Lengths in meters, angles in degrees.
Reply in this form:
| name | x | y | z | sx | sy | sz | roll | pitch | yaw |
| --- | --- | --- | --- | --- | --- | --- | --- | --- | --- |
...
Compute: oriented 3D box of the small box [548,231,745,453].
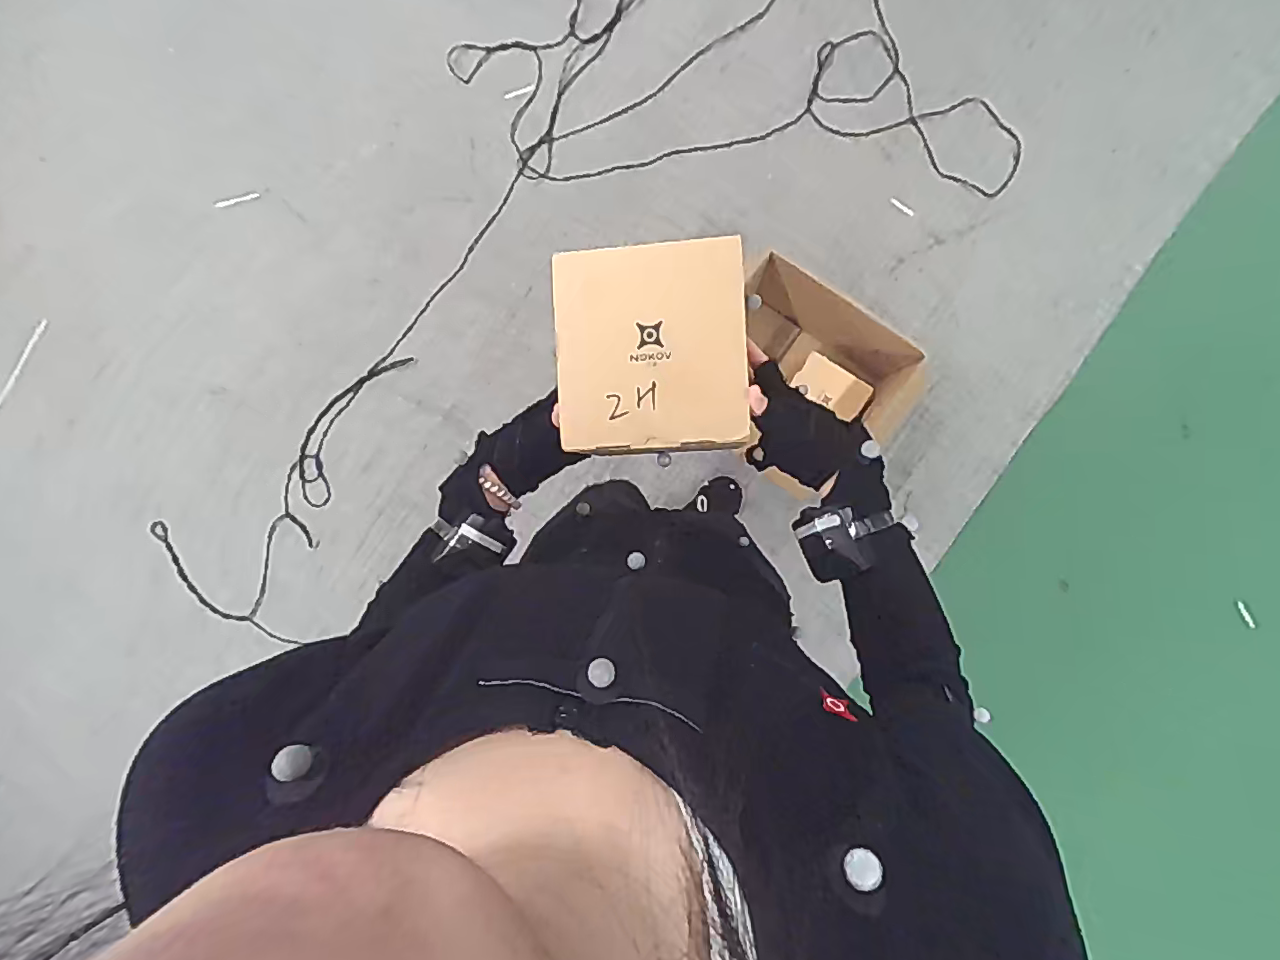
| name | x | y | z | sx | sy | sz | roll | pitch | yaw |
| --- | --- | --- | --- | --- | --- | --- | --- | --- | --- |
| small box | 0.012 | -0.119 | 0.536 | 0.168 | 0.176 | 0.179 | -3 | 91 | 7 |
